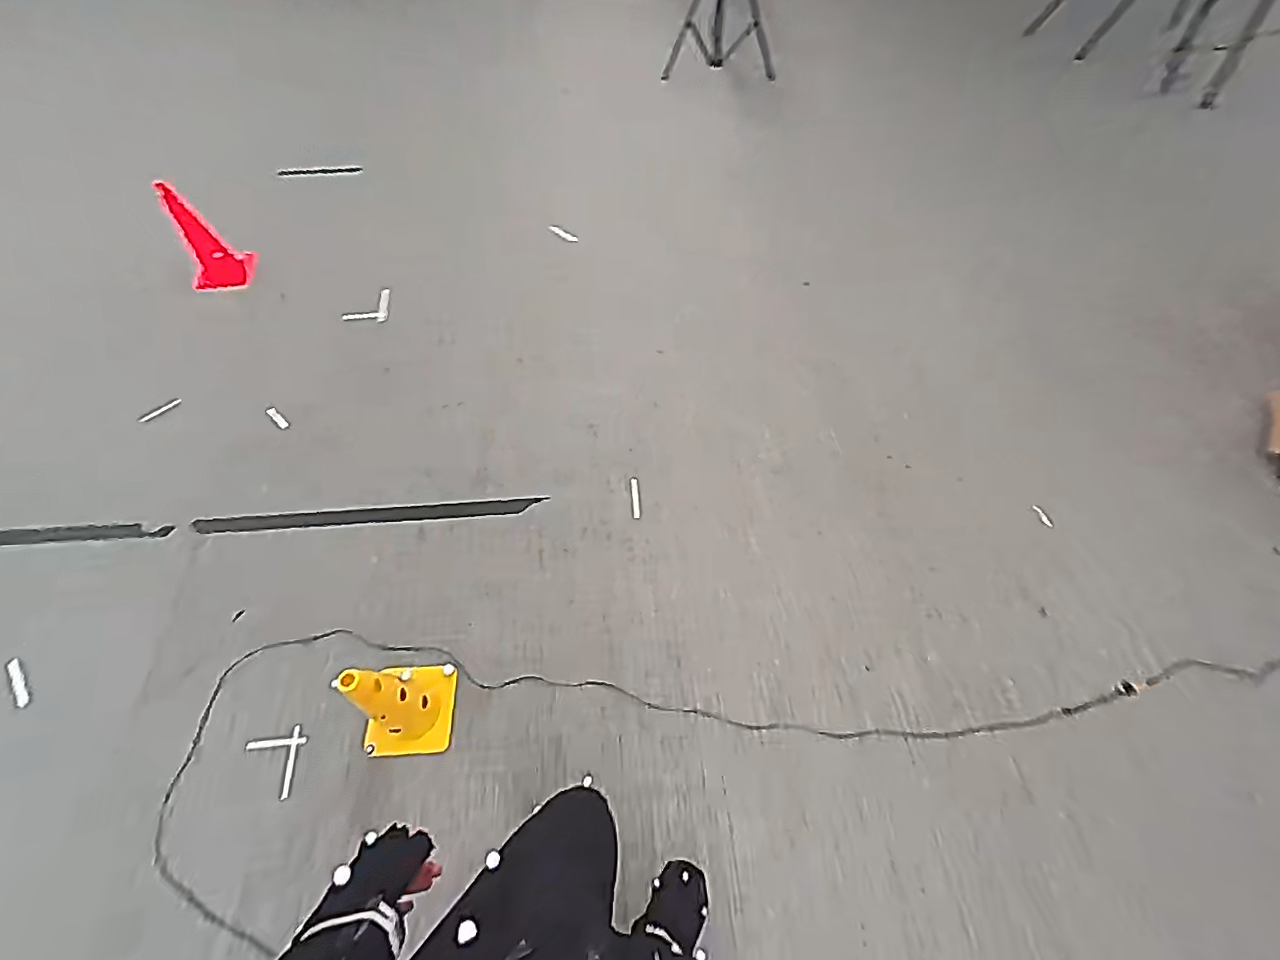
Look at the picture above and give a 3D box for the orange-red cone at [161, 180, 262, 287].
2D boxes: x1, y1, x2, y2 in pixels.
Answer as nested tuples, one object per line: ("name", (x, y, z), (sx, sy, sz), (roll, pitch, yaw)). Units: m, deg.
("orange-red cone", (-1.626, -0.926, 2.004), (0.199, 0.360, 0.198), (-8, 59, -4))
